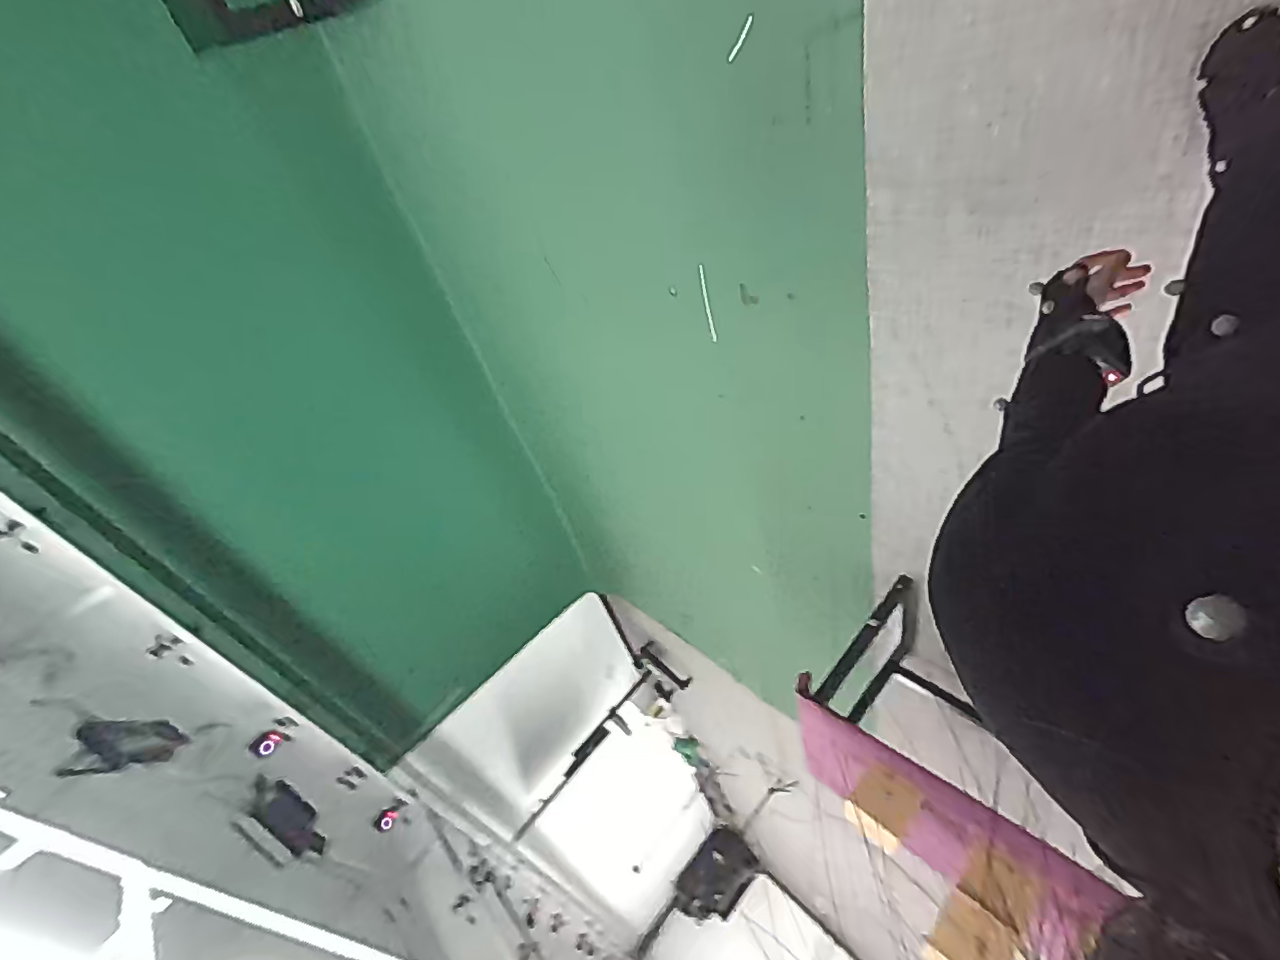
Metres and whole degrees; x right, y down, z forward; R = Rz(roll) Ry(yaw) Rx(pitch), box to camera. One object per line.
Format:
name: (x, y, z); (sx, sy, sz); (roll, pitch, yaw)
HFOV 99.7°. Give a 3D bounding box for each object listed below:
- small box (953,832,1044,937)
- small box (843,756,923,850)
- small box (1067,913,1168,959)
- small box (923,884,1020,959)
small box: (0.992, 1.135, 1.509); (0.168, 0.176, 0.179); (25, 147, 40)
small box: (0.766, 1.012, 1.706); (0.168, 0.176, 0.179); (30, 149, 37)
small box: (1.182, 1.230, 1.325); (0.168, 0.176, 0.179); (57, 154, -17)
small box: (0.876, 1.219, 1.432); (0.168, 0.176, 0.179); (25, 147, 40)
